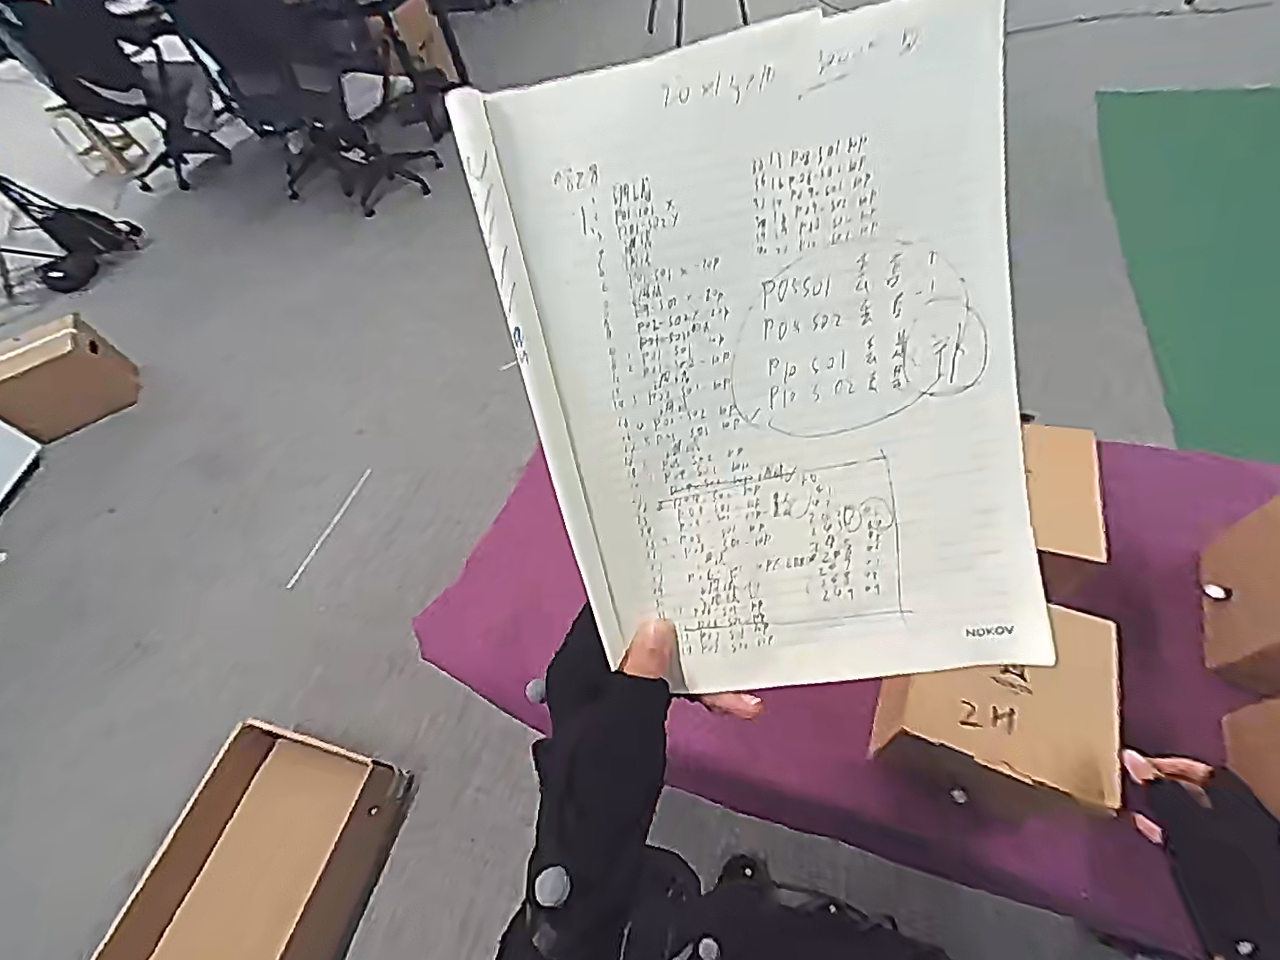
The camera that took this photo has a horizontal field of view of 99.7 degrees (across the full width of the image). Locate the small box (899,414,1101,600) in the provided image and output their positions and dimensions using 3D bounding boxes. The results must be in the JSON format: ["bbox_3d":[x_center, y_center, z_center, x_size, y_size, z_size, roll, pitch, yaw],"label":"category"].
[{"bbox_3d":[0.437,0.046,0.685,0.168,0.176,0.179,11,58,17],"label":"small box"}]

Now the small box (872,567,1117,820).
[{"bbox_3d":[0.357,0.226,0.569,0.168,0.176,0.179,16,59,21],"label":"small box"}]

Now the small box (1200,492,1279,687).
[{"bbox_3d":[0.745,0.130,0.566,0.168,0.176,0.179,18,61,21],"label":"small box"}]
